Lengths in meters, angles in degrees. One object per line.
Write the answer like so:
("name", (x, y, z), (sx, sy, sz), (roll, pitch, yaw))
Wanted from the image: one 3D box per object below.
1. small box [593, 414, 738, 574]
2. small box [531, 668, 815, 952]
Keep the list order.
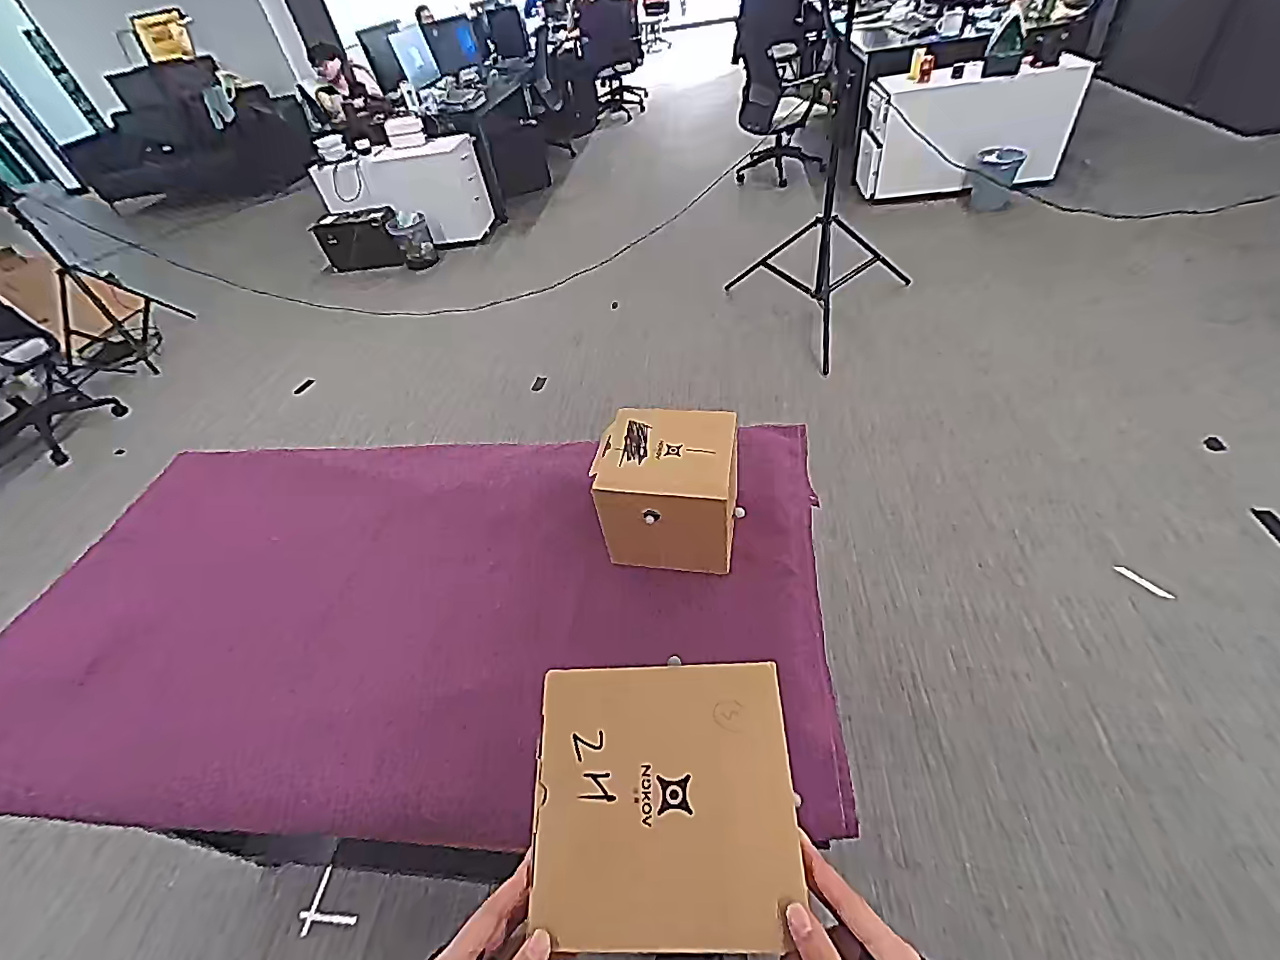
("small box", (0.048, 0.022, 0.790), (0.179, 0.176, 0.168), (4, 48, 13))
("small box", (0.026, 0.252, 0.435), (0.179, 0.176, 0.168), (-4, 59, 5))
